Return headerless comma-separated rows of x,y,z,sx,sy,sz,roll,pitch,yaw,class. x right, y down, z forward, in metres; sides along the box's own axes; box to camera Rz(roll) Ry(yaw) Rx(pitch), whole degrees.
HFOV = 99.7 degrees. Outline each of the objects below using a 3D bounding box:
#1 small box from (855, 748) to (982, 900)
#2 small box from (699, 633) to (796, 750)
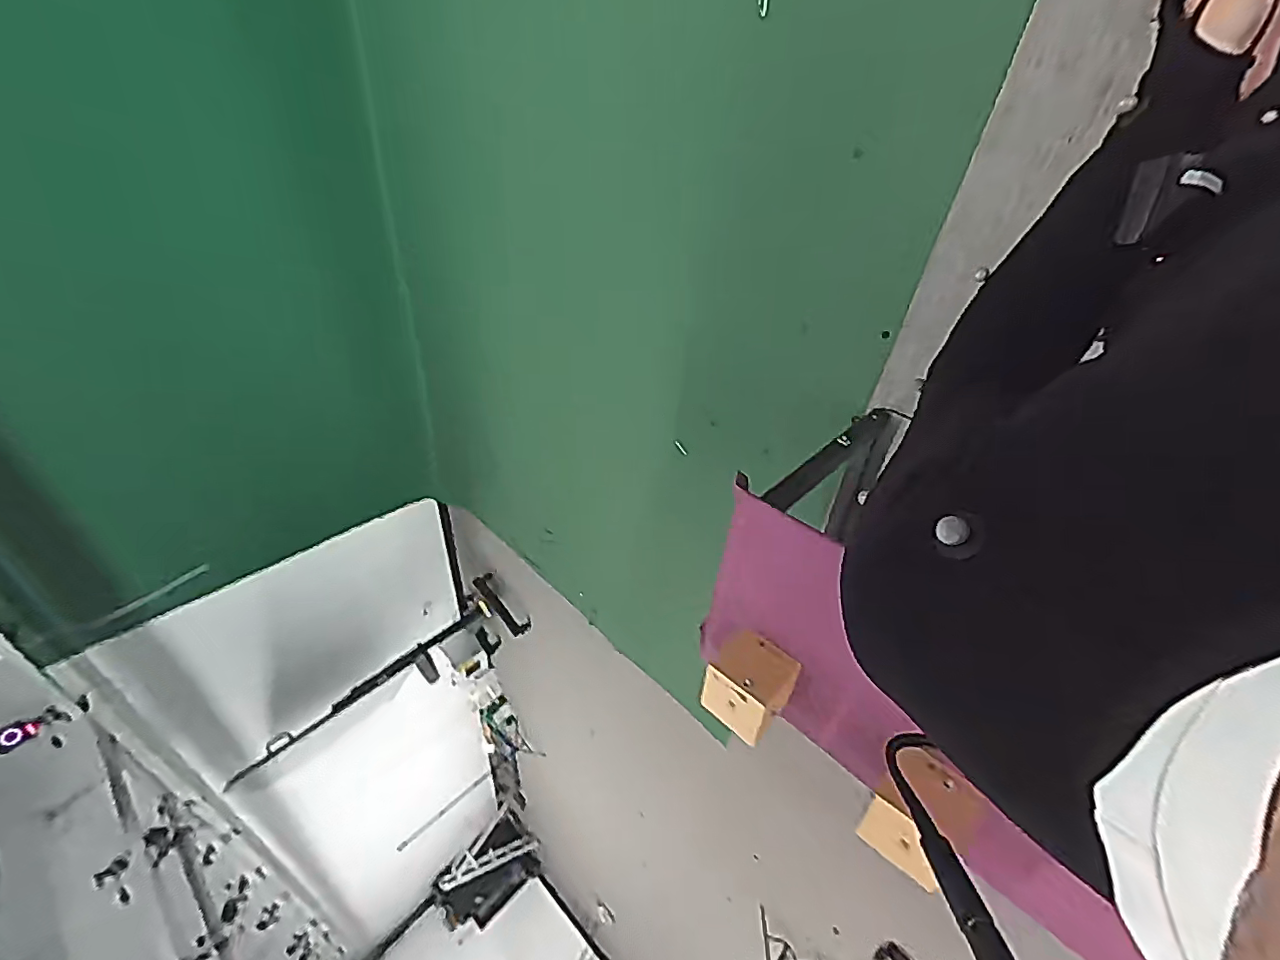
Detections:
0.584,0.713,1.135,0.168,0.176,0.179,29,132,33,small box
0.272,0.526,1.363,0.168,0.176,0.179,30,133,32,small box
